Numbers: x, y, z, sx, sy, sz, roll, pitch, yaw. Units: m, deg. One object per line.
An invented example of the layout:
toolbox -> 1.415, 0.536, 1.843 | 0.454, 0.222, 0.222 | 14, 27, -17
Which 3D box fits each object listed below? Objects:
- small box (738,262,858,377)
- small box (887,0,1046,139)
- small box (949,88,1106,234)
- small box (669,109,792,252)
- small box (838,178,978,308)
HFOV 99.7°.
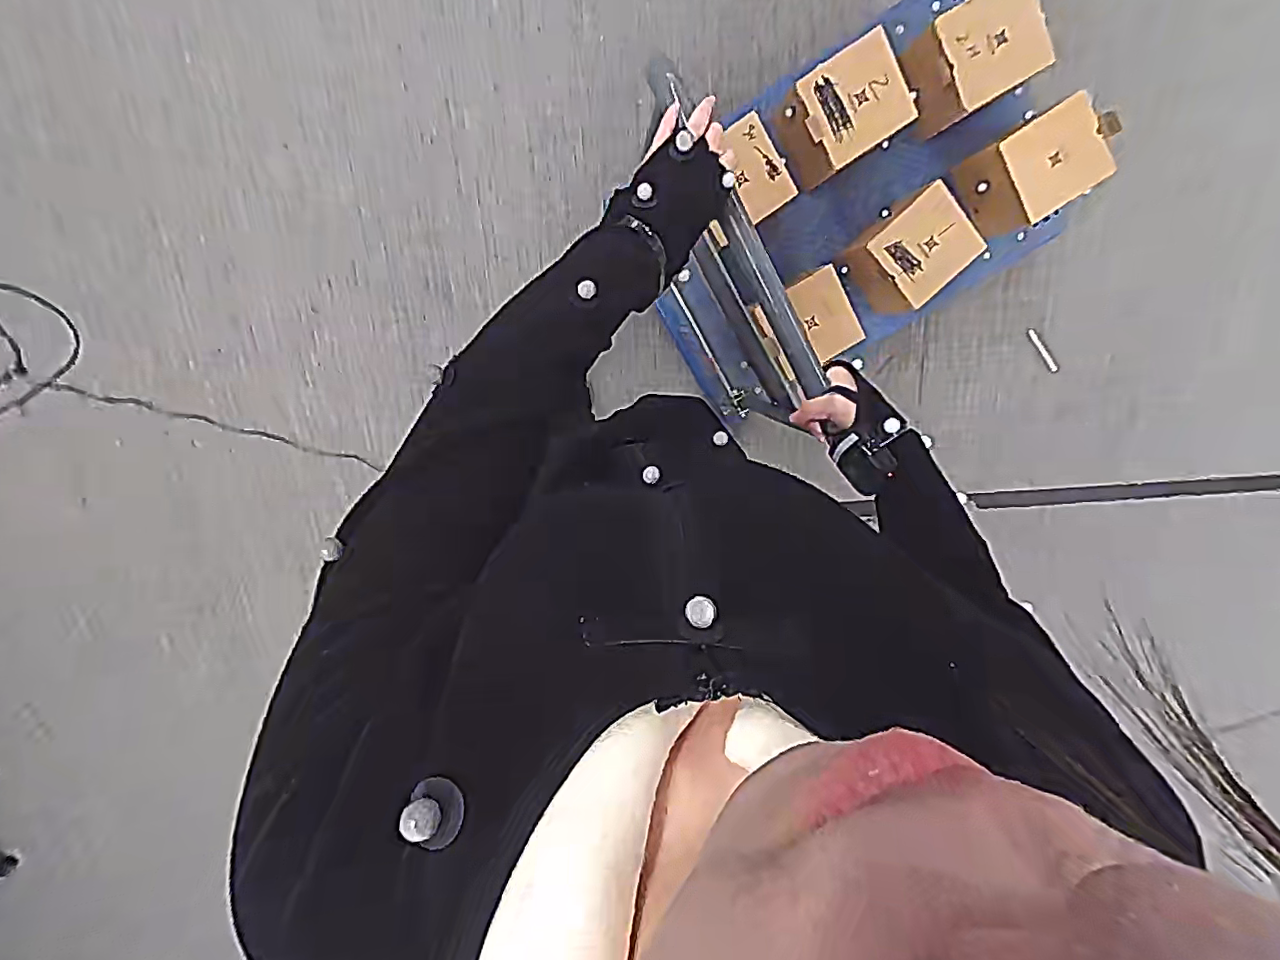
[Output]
small box -> 0.324, -0.336, 1.153 | 0.179, 0.176, 0.168 | -30, 105, 5
small box -> 0.614, -0.799, 1.036 | 0.179, 0.176, 0.168 | -28, 104, 6
small box -> 0.764, -0.627, 1.092 | 0.179, 0.176, 0.168 | -33, 104, 6
small box -> 0.168, -0.579, 1.077 | 0.179, 0.176, 0.168 | -33, 105, 7
small box -> 0.539, -0.476, 1.122 | 0.179, 0.176, 0.168 | -42, 103, 8
